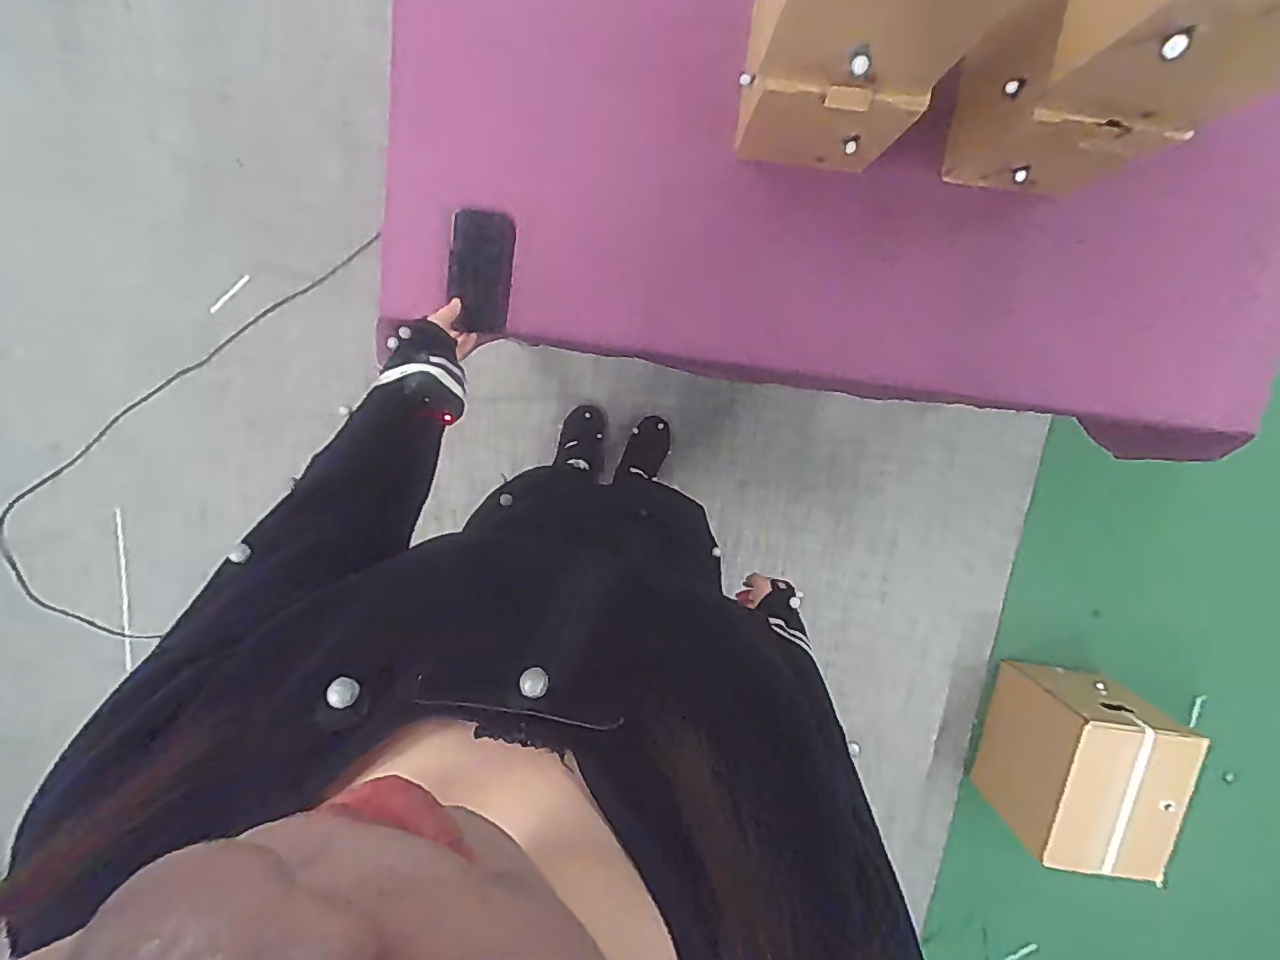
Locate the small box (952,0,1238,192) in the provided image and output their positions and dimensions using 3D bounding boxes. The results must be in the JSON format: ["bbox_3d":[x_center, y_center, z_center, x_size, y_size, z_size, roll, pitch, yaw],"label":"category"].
[{"bbox_3d":[0.478,-0.446,0.593,0.168,0.176,0.179,7,101,-1],"label":"small box"}]

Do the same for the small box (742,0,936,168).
[{"bbox_3d":[0.214,-0.469,0.591,0.168,0.176,0.179,6,100,-2],"label":"small box"}]

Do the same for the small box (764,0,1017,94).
[{"bbox_3d":[0.205,-0.451,0.426,0.168,0.176,0.179,6,100,-1],"label":"small box"}]
